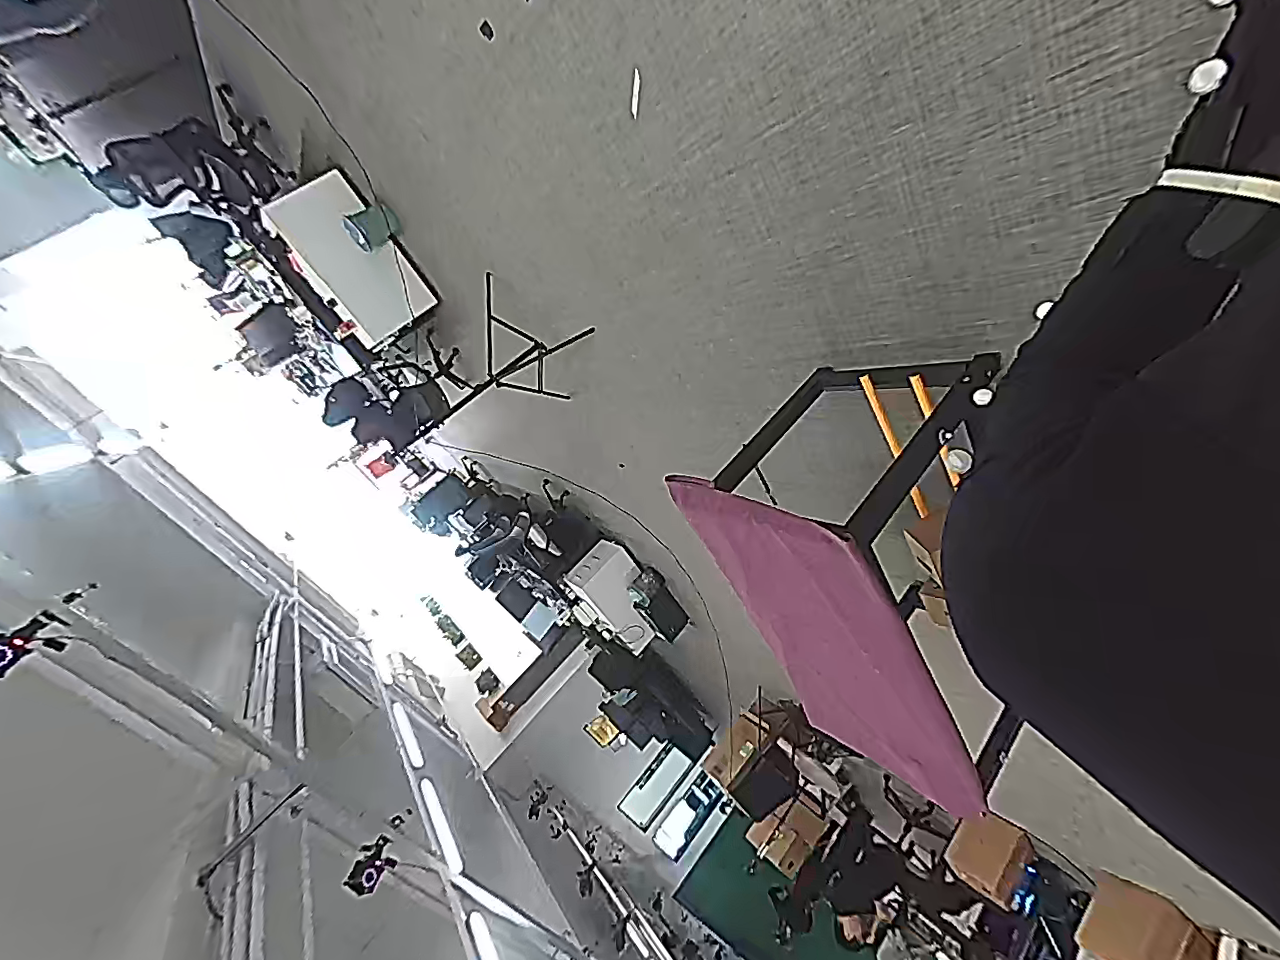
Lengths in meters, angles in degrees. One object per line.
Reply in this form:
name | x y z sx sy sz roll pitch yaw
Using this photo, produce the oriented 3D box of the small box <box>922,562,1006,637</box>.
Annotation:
small box | 1.125 0.406 1.872 0.168 0.176 0.179 54 156 -23
